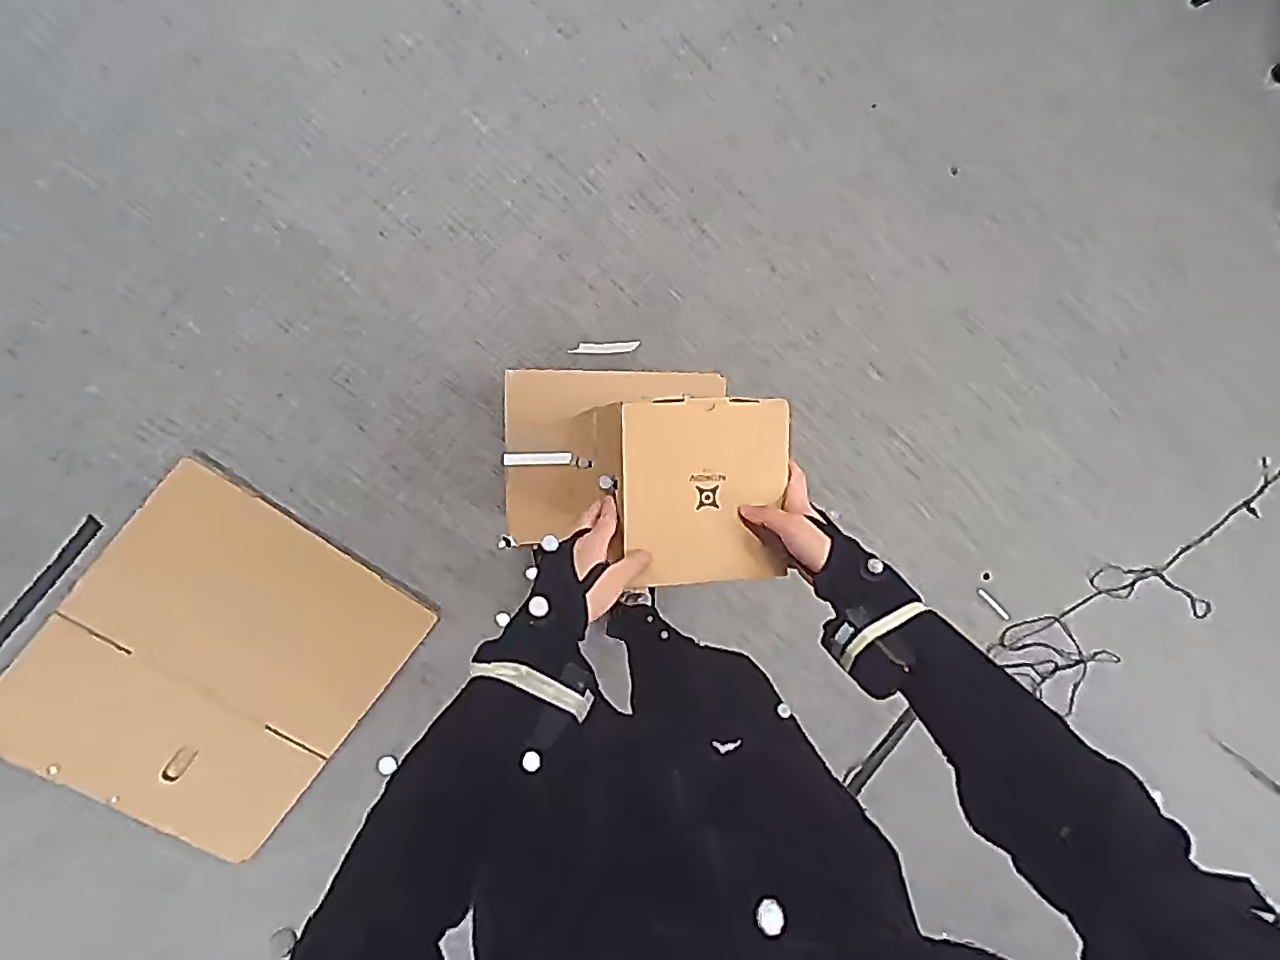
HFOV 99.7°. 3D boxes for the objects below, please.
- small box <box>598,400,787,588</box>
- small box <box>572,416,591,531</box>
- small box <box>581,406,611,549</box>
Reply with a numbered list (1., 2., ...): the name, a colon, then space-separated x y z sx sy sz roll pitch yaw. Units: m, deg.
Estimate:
1. small box: 0.047 0.006 0.588 0.168 0.176 0.179 -2 94 -12
2. small box: -0.024 -0.017 0.905 0.168 0.176 0.179 -2 95 -12
3. small box: 0.010 -0.008 0.745 0.168 0.176 0.179 -2 94 -11
